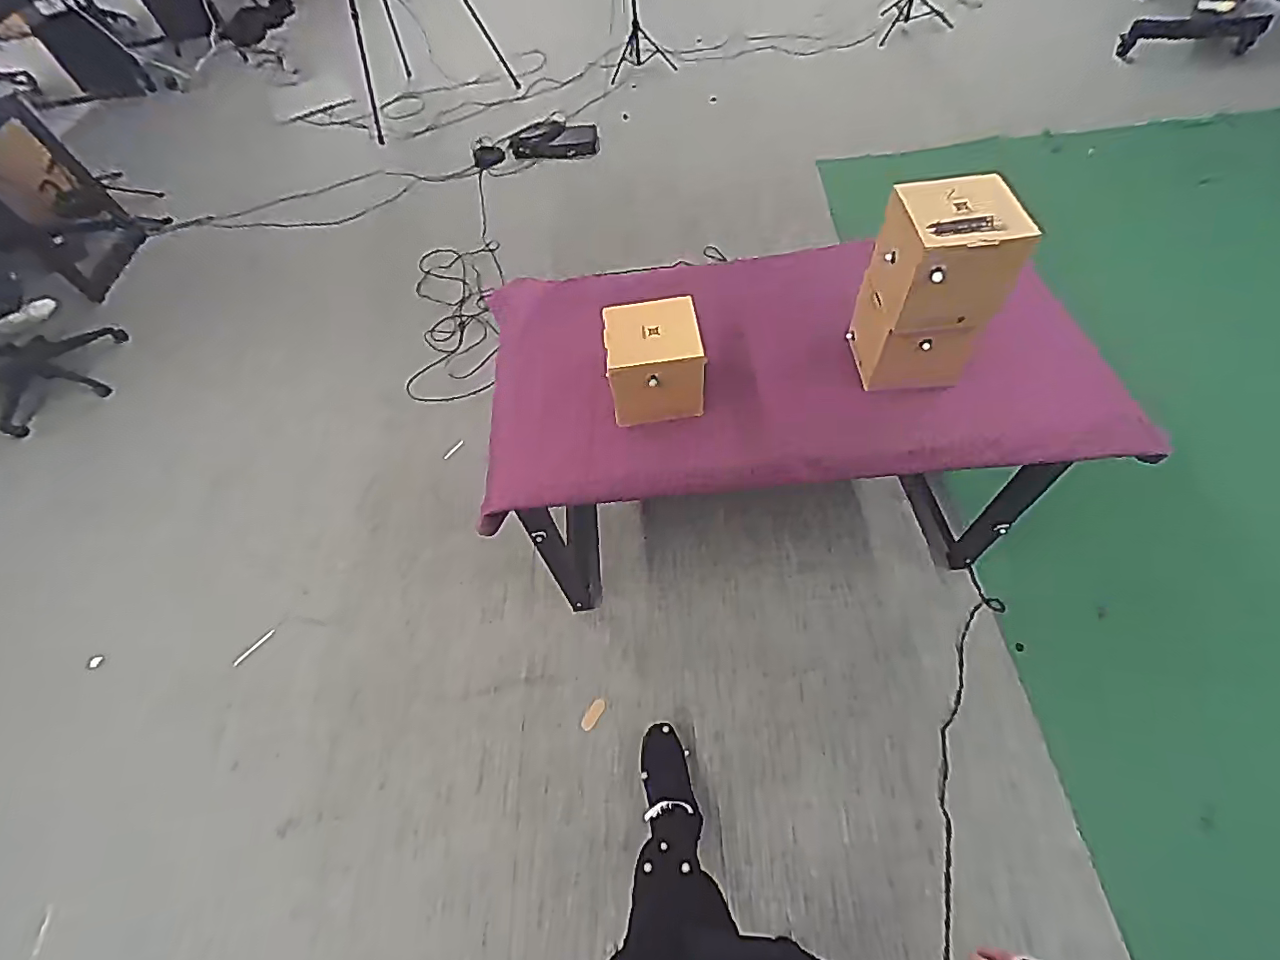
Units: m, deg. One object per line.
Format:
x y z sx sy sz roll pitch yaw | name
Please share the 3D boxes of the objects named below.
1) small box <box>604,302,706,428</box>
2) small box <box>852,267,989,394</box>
0.030 -0.222 1.066 0.179 0.176 0.168 -8 57 2 | small box
0.525 -0.283 1.046 0.179 0.176 0.168 -4 57 4 | small box
